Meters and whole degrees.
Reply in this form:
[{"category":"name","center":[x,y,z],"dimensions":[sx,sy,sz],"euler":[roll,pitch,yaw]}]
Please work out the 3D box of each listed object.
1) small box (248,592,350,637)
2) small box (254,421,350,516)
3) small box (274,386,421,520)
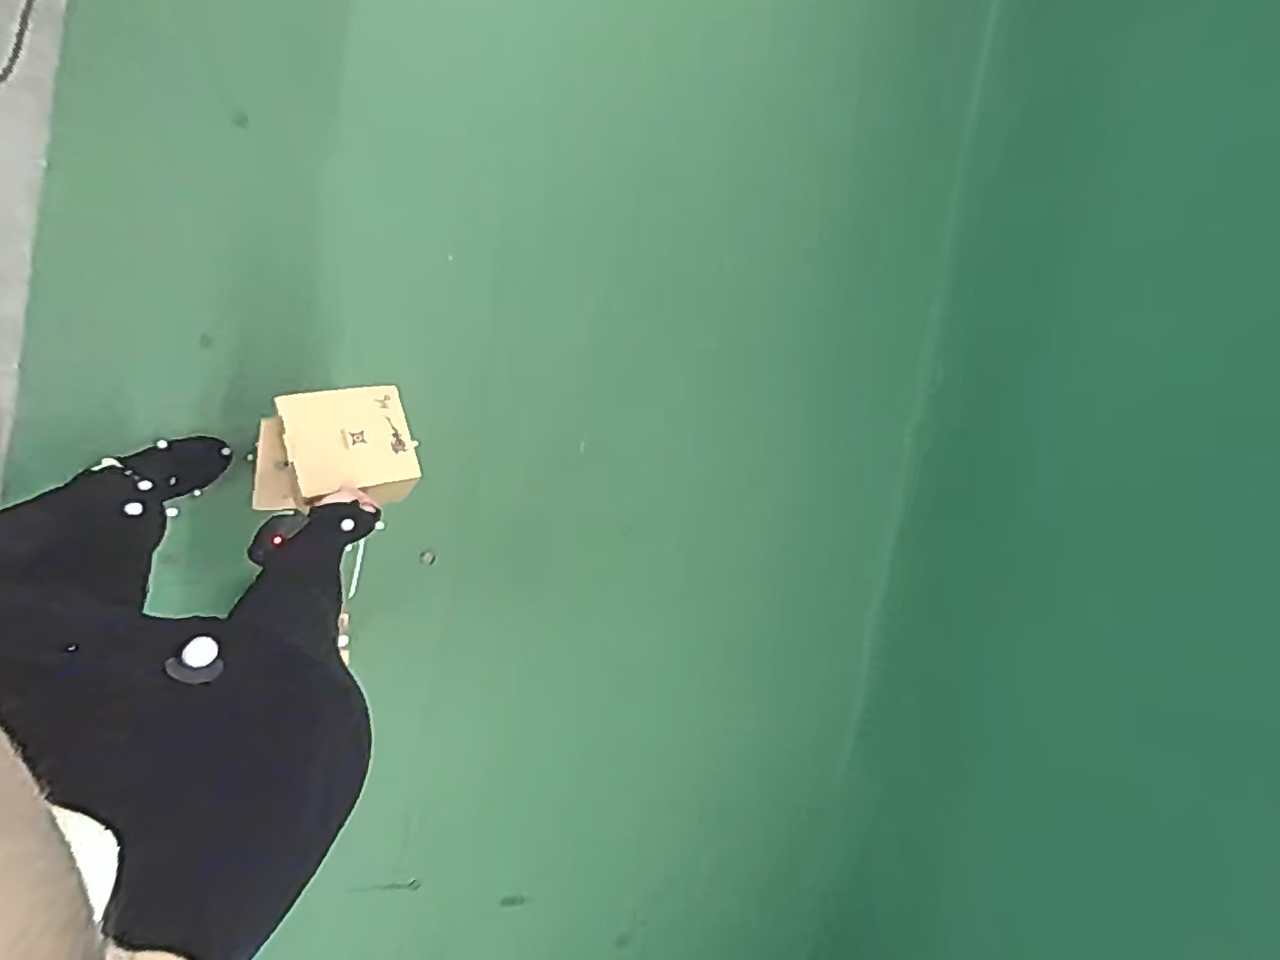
[{"category":"small box","center":[-0.739,0.348,1.168],"dimensions":[0.179,0.176,0.168],"euler":[7,95,-33]},{"category":"small box","center":[-0.700,-0.027,1.135],"dimensions":[0.168,0.176,0.179],"euler":[6,94,-34]},{"category":"small box","center":[-0.490,-0.041,0.909],"dimensions":[0.179,0.176,0.168],"euler":[-15,83,-34]}]
